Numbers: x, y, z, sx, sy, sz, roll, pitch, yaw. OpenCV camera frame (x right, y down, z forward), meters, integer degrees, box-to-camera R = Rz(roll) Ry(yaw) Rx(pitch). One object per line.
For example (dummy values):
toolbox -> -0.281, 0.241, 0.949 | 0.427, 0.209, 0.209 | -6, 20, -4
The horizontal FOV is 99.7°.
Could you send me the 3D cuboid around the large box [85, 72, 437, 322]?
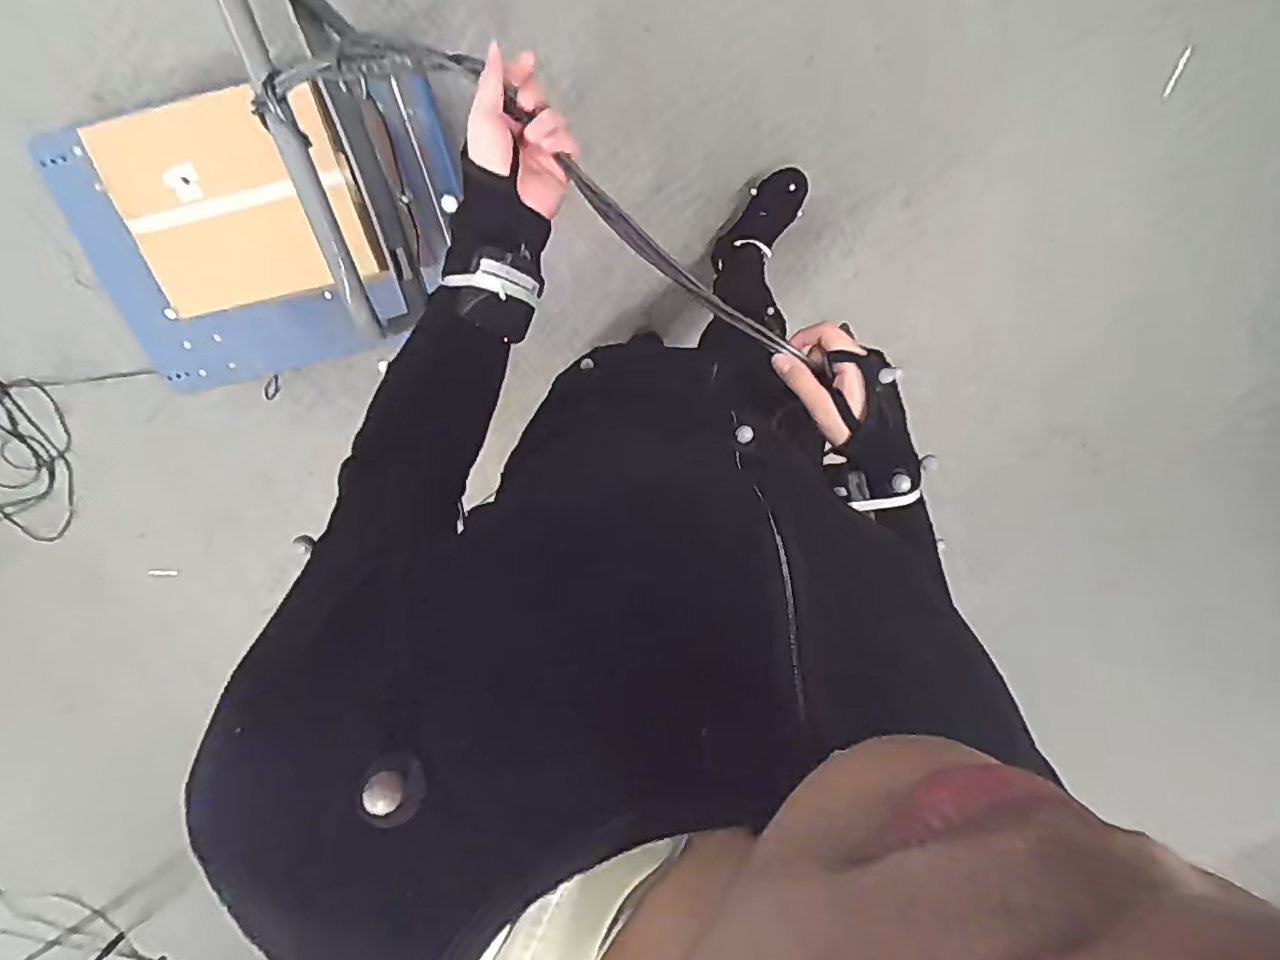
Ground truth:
large box -> -0.685, -0.531, 1.062 | 0.408, 0.320, 0.320 | -11, 113, 5
